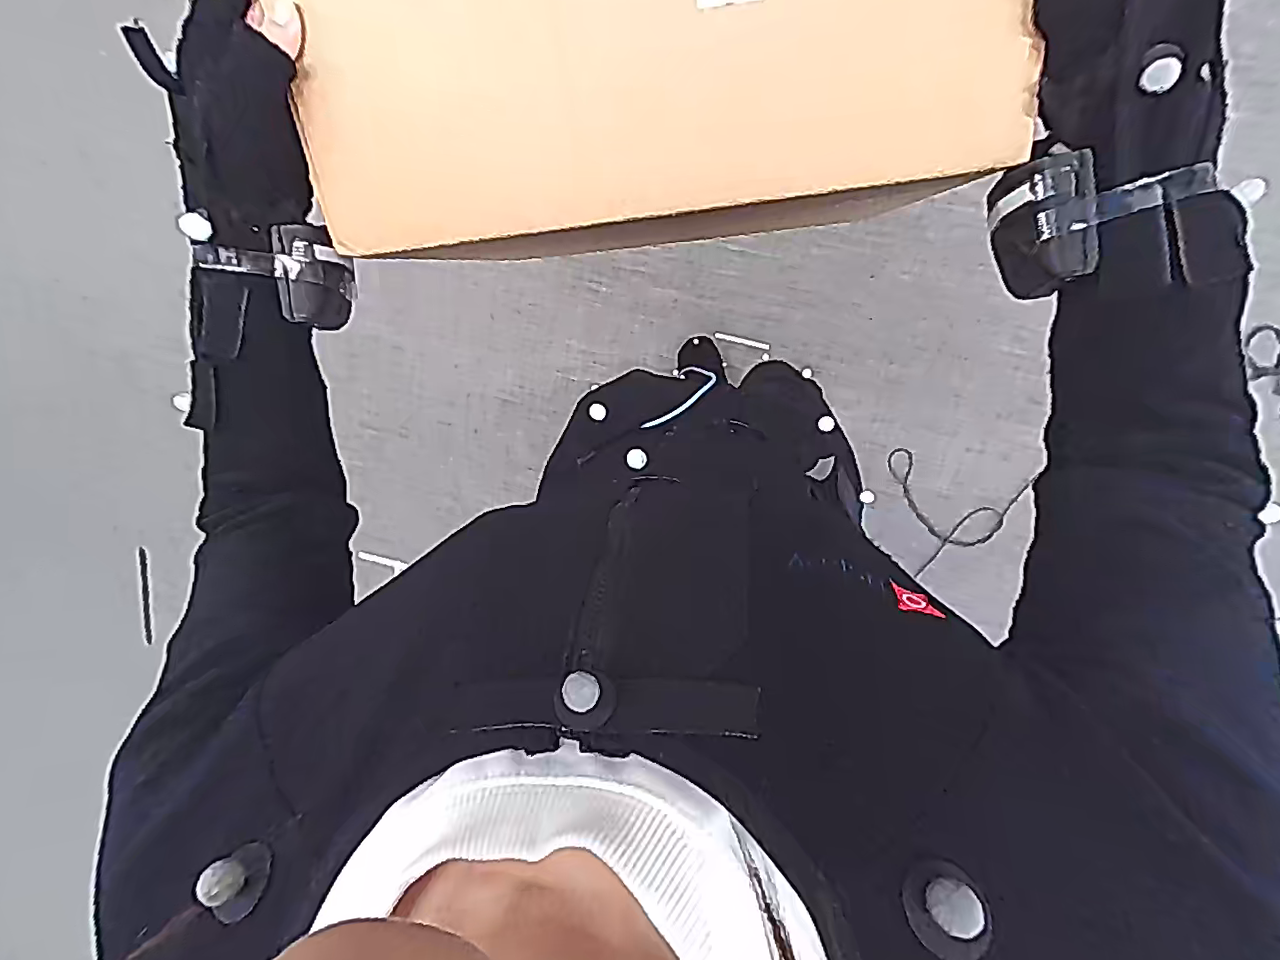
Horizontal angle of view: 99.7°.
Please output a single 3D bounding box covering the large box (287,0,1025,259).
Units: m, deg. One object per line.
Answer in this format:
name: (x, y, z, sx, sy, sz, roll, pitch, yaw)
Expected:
large box: (0.007, -0.363, 0.411, 0.408, 0.320, 0.320, -4, 111, 10)
